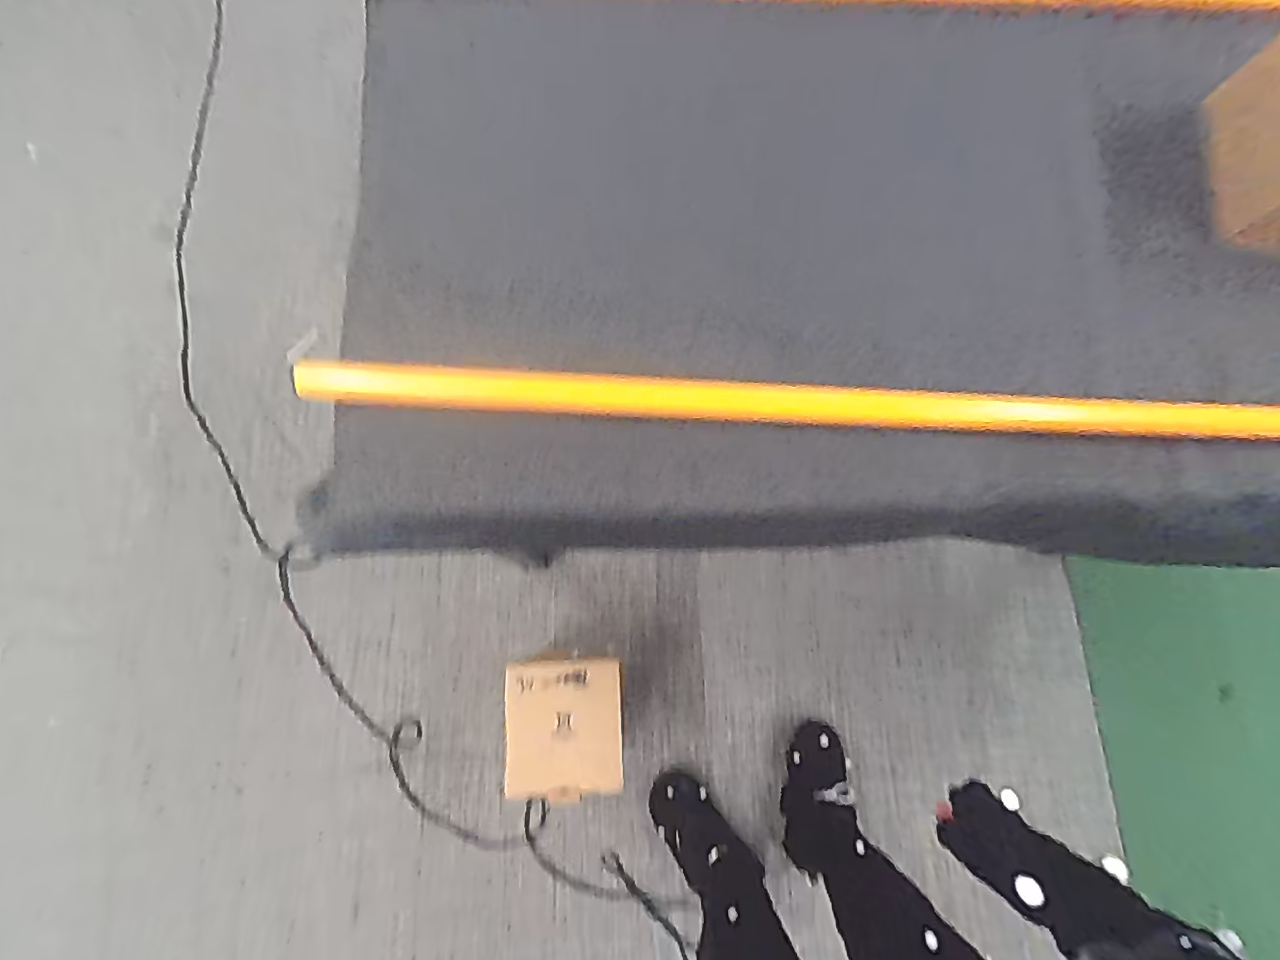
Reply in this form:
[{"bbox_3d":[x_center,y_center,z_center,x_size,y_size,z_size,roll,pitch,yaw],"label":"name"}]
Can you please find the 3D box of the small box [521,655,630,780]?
[{"bbox_3d":[-0.112,0.425,0.995,0.168,0.176,0.179,7,76,0],"label":"small box"}]
